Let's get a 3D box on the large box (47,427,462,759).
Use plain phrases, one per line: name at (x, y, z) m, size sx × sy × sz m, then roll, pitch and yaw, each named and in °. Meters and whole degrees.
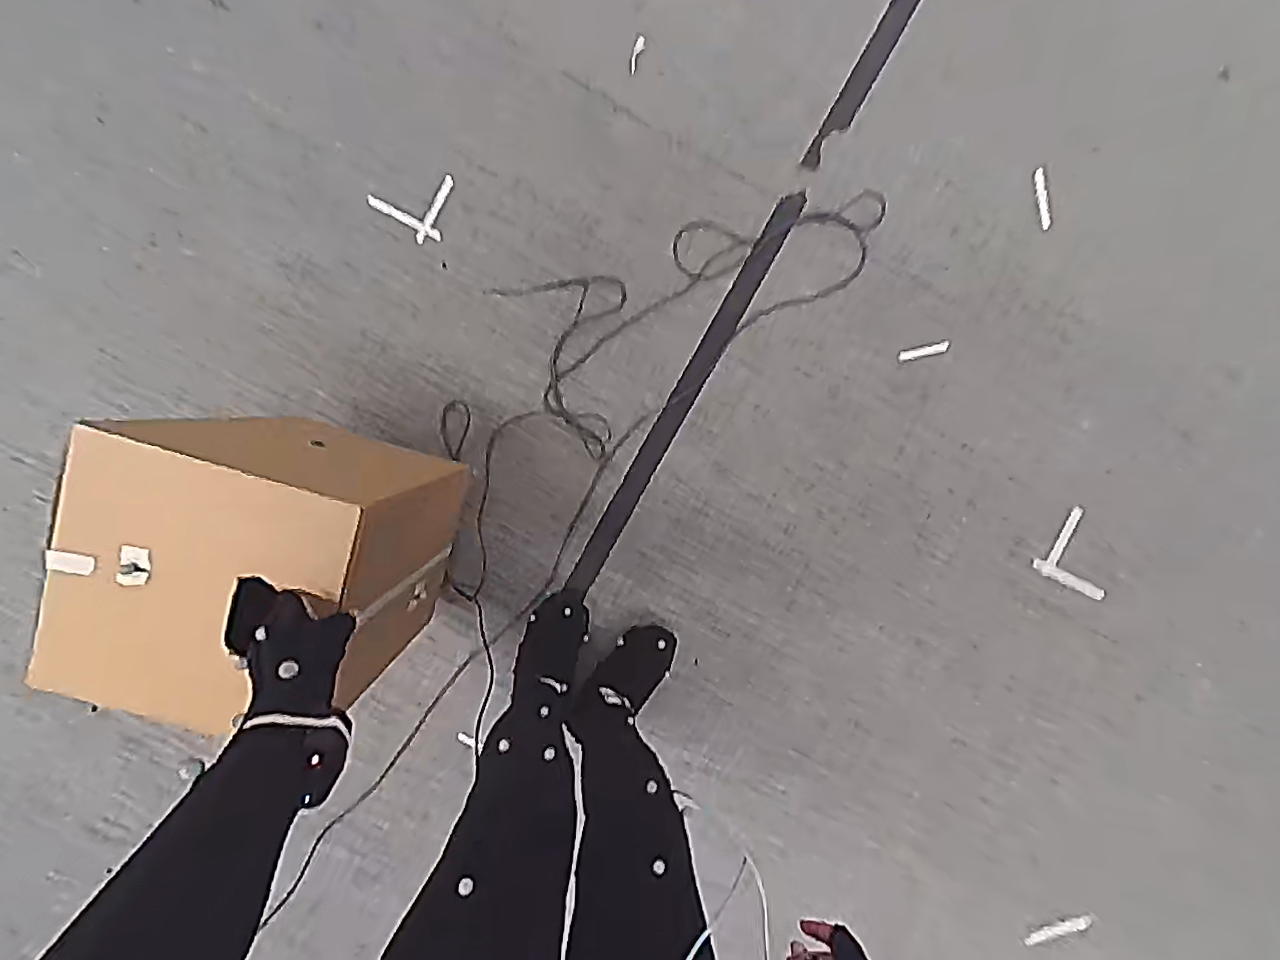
large box at (-0.506, 0.118, 0.799) m, size 0.320 × 0.408 × 0.320 m, roll 17°, pitch 97°, yaw -4°
